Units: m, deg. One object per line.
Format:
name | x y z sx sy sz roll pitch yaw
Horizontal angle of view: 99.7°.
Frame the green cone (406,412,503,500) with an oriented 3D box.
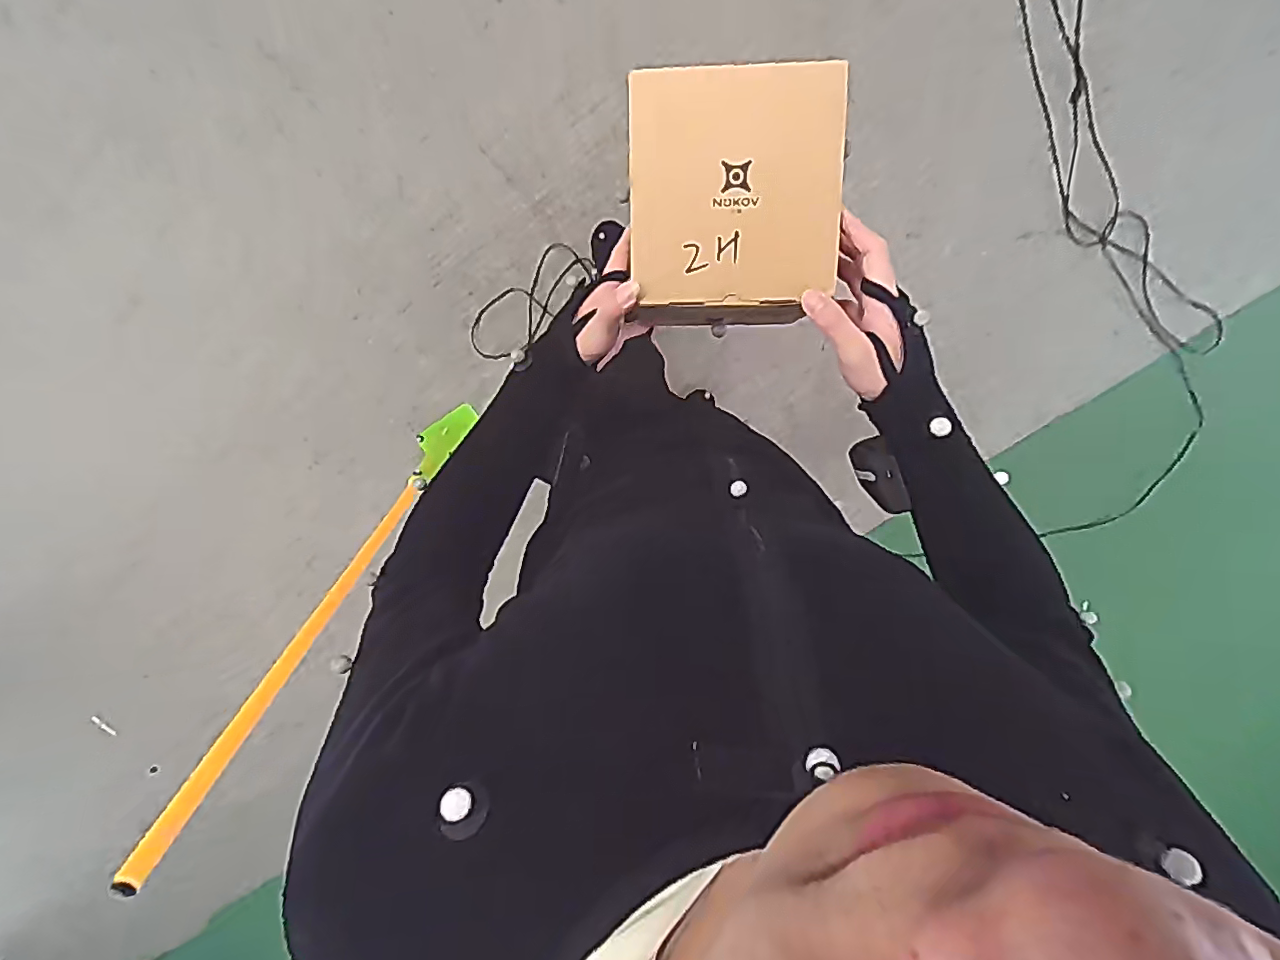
green cone | -0.522 -0.019 1.402 0.202 0.368 0.200 -33 106 8
